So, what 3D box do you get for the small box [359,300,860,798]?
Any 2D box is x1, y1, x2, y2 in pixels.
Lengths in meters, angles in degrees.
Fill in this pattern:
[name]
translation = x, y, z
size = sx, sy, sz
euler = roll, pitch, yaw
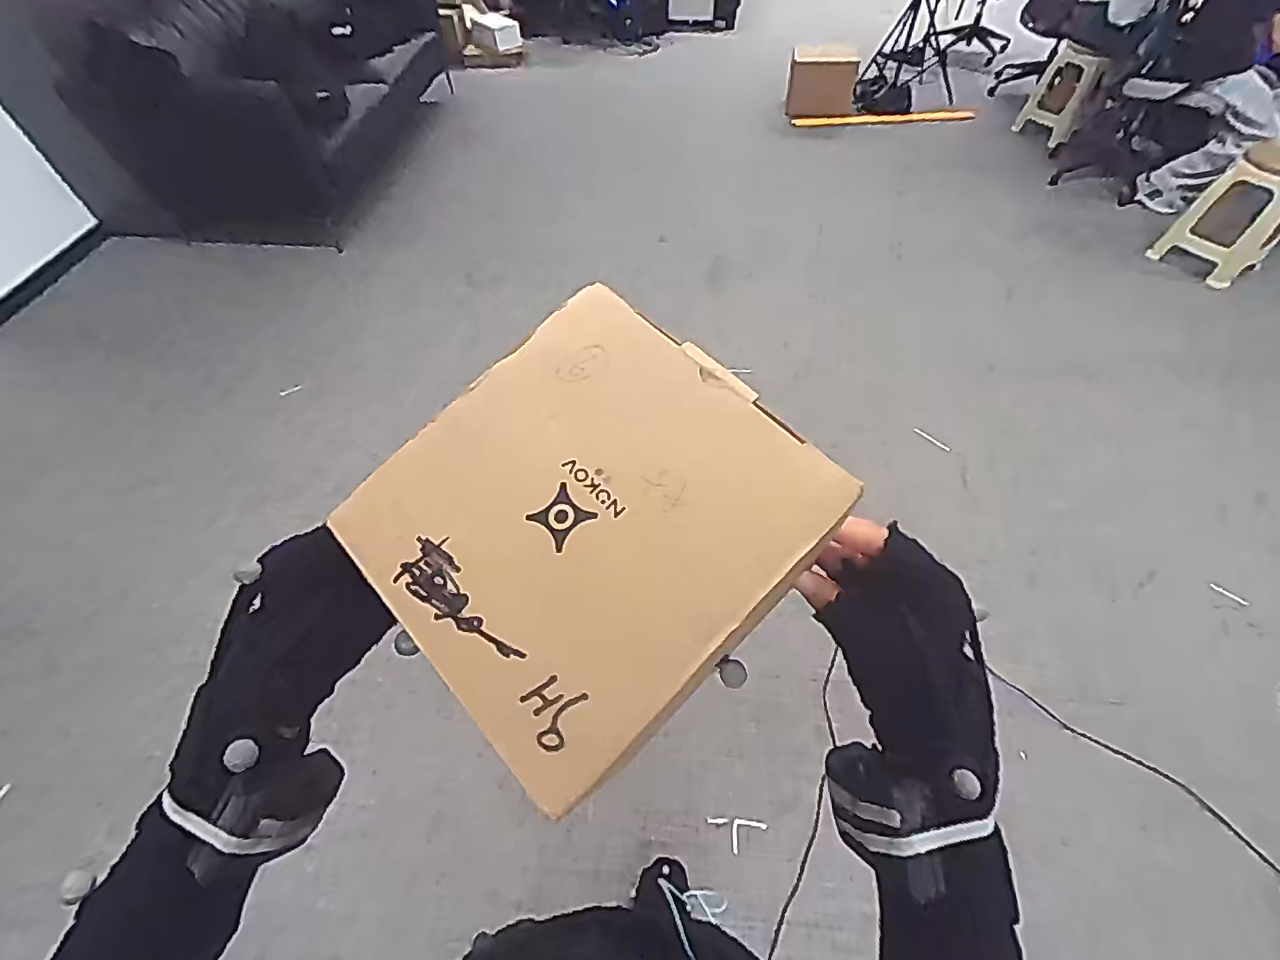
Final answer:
[small box]
translation = -0.011, 0.041, 0.321
size = 0.179, 0.176, 0.168
euler = -44, 70, -10
